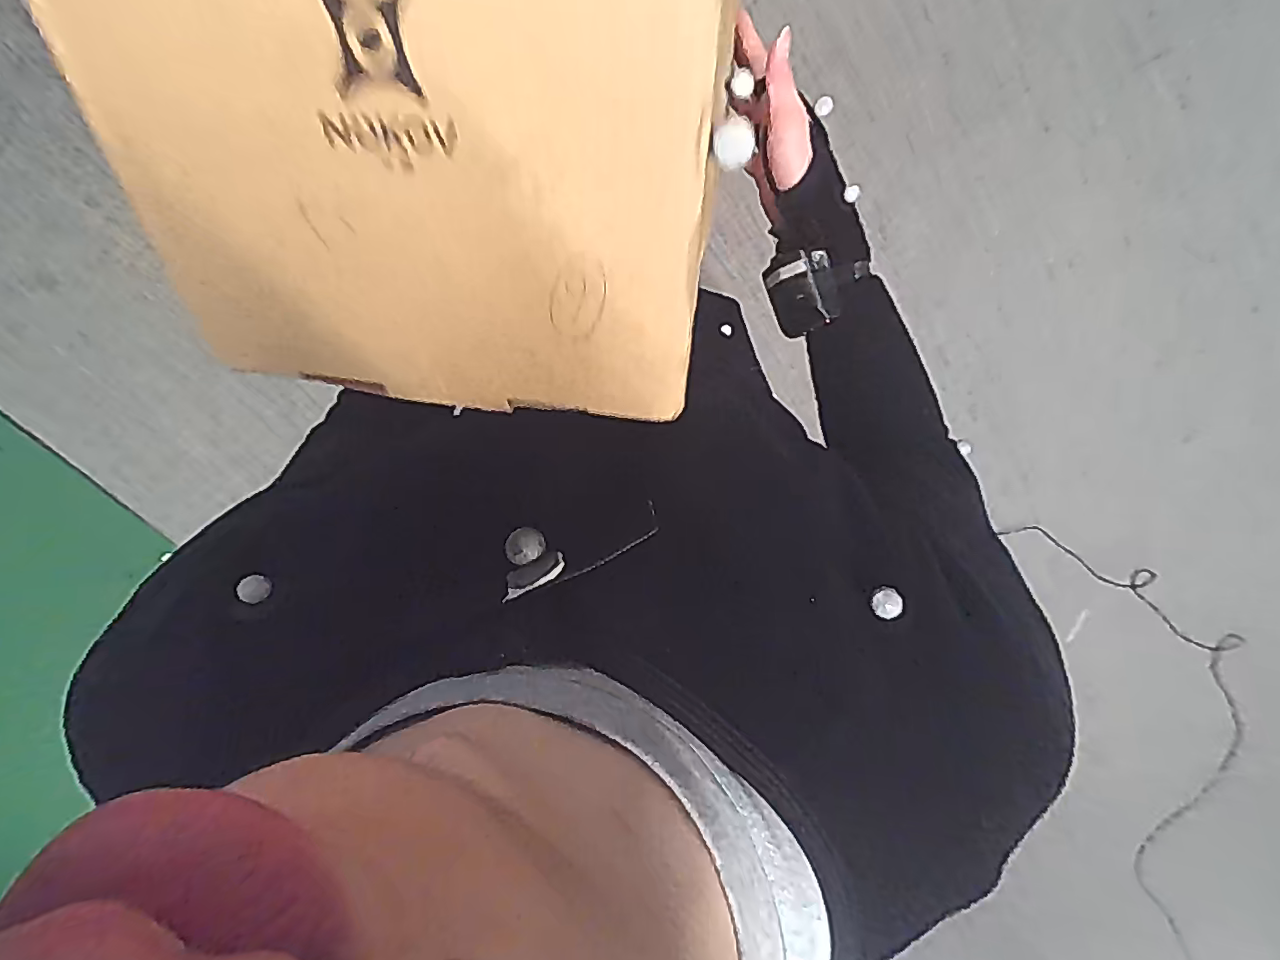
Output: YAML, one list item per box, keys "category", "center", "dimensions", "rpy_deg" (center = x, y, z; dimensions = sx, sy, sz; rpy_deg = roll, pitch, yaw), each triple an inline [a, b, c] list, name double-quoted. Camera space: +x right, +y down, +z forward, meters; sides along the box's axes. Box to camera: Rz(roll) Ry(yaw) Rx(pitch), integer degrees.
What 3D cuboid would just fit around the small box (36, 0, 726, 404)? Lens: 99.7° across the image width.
- category: "small box"
  center: [-0.056, -0.153, 0.194]
  dimensions: [0.168, 0.176, 0.179]
  rpy_deg: [7, 132, 4]
